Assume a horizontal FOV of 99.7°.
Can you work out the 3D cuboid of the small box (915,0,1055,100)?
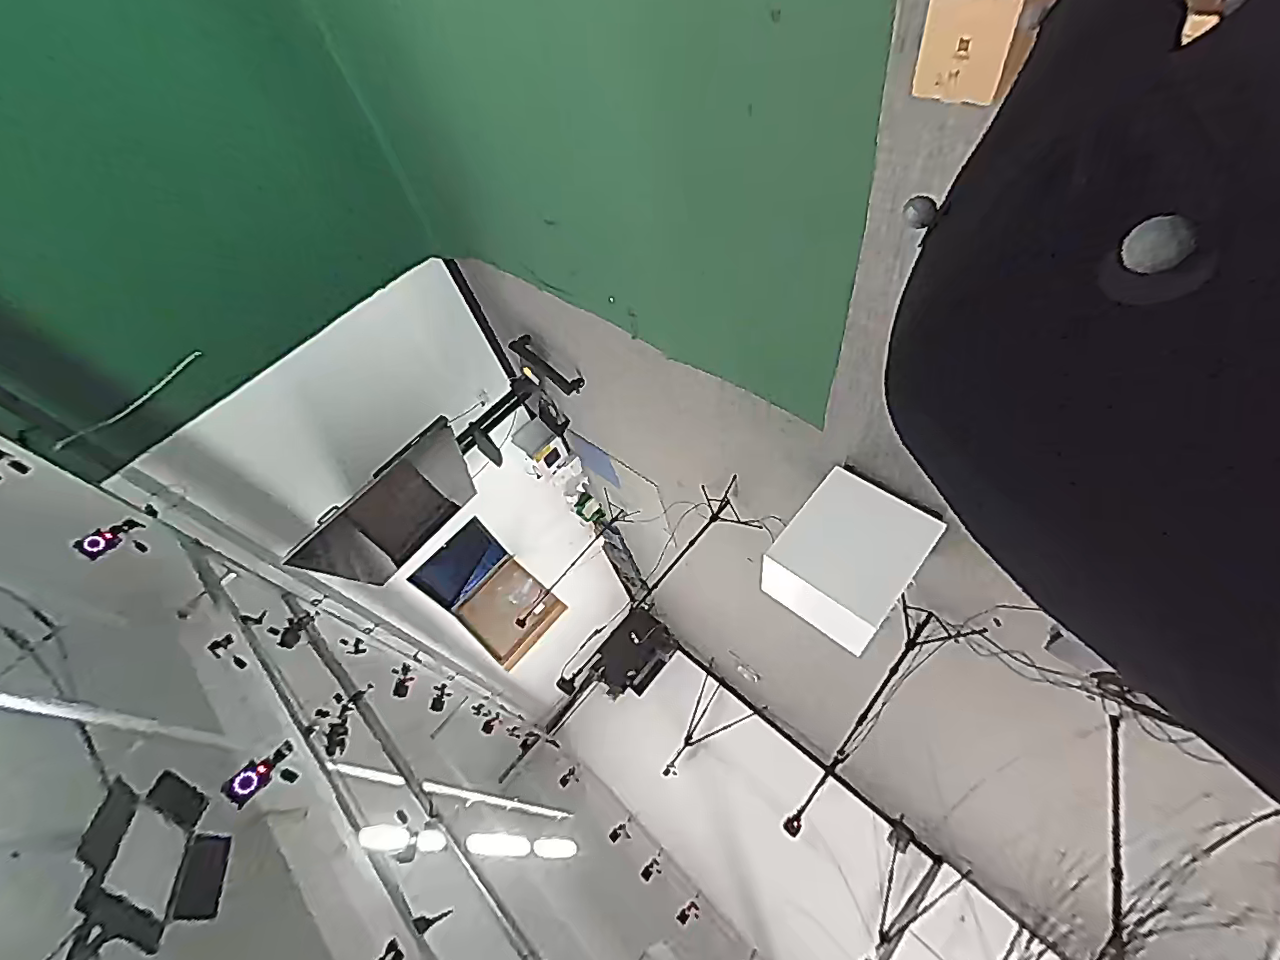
[{"bbox_3d":[0.671,-0.876,1.043,0.168,0.176,0.179,34,159,30],"label":"small box"}]
